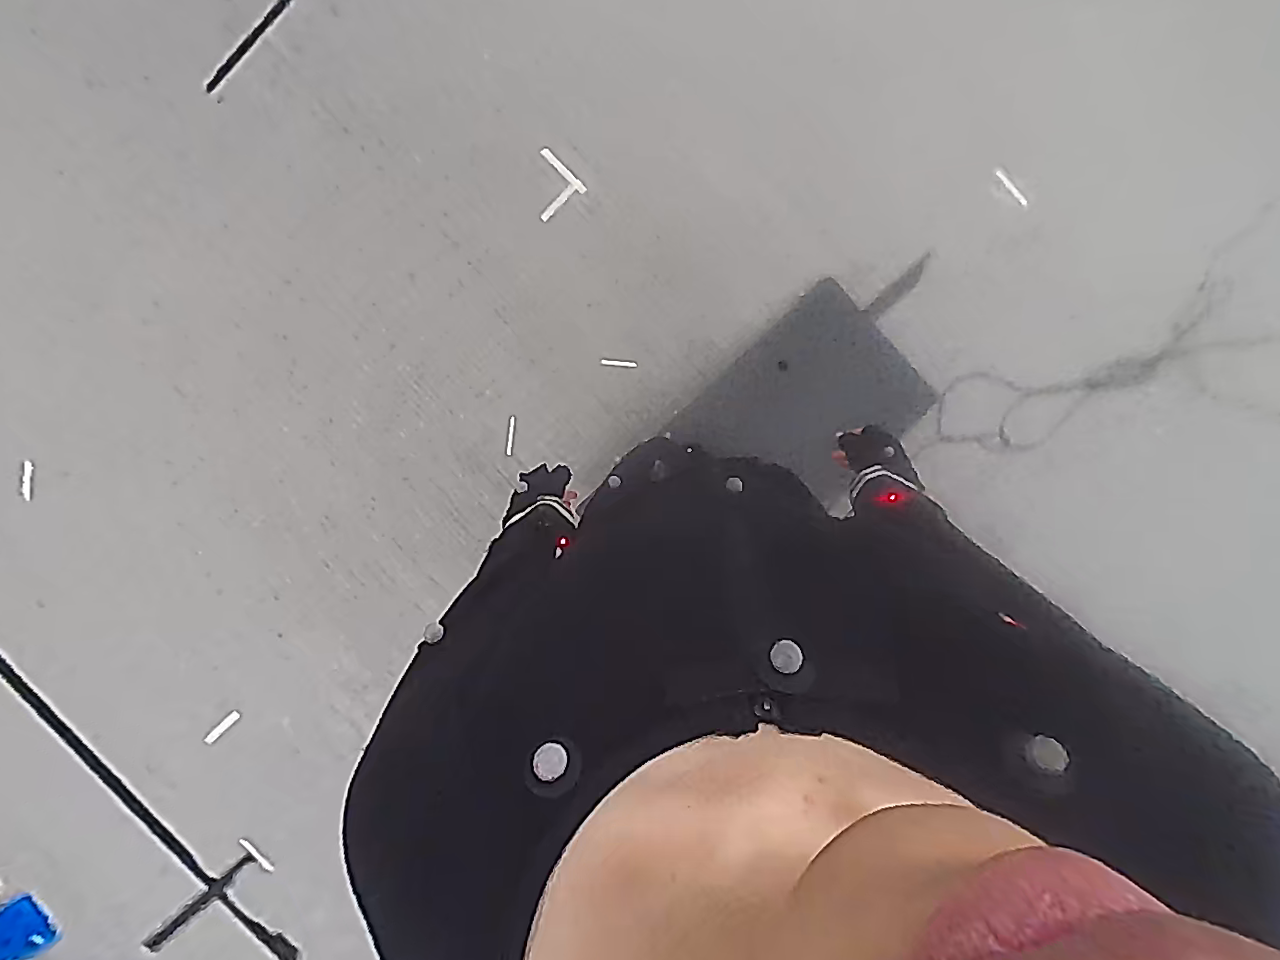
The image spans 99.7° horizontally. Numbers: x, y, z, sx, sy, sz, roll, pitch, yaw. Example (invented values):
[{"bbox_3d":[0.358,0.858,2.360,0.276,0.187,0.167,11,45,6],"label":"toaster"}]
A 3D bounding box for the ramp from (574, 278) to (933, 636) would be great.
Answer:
[{"bbox_3d":[0.336,-0.083,1.531,0.509,0.206,0.991,45,95,0],"label":"ramp"}]
